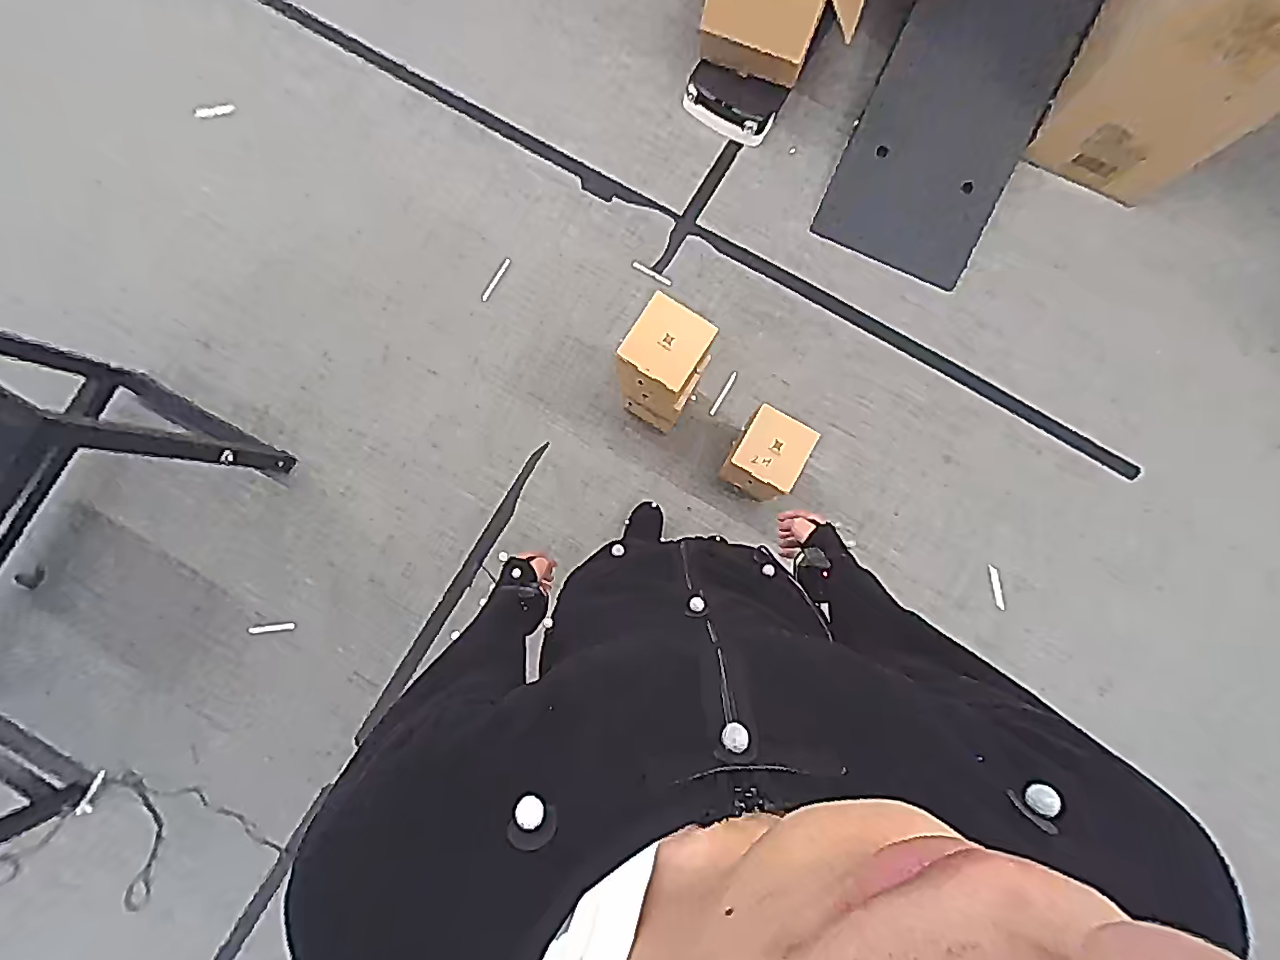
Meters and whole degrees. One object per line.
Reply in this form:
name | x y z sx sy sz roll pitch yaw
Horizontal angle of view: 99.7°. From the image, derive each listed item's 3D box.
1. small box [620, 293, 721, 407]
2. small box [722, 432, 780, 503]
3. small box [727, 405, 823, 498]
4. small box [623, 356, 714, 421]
small box | 0.064 -0.294 1.265 0.168 0.176 0.179 33 87 2
small box | 0.352 -0.047 1.576 0.168 0.176 0.179 29 87 3
small box | 0.342 -0.068 1.413 0.168 0.176 0.179 30 87 3
small box | 0.069 -0.272 1.426 0.179 0.176 0.168 31 86 1
